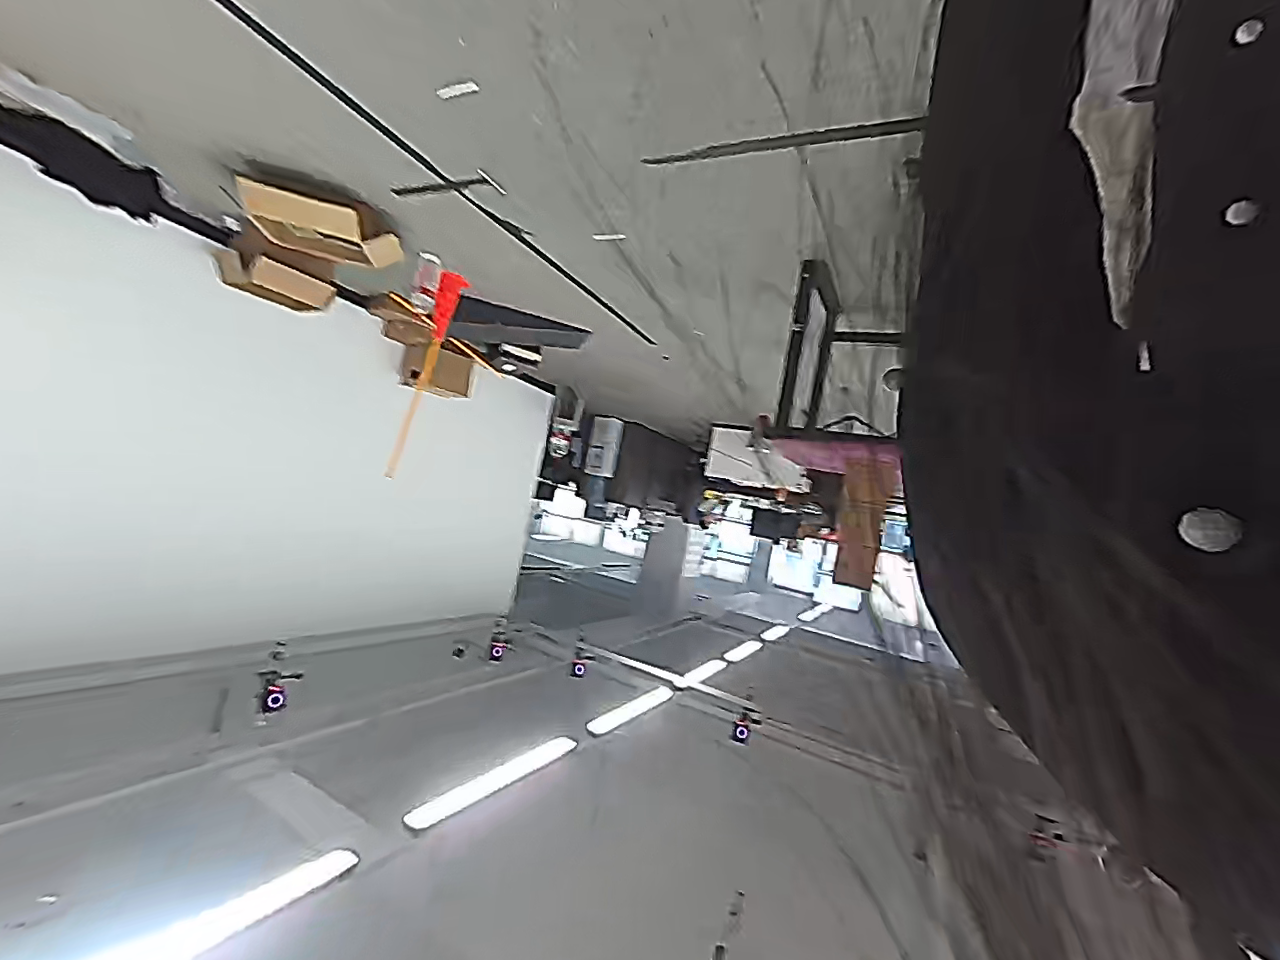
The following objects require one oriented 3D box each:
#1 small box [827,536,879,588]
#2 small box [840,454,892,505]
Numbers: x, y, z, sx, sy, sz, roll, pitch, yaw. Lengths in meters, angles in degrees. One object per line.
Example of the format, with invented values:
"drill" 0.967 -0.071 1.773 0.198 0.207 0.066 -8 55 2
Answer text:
"small box" 0.838 0.318 2.136 0.168 0.176 0.179 11 180 20
"small box" 0.899 -0.003 2.154 0.168 0.176 0.179 9 178 22
